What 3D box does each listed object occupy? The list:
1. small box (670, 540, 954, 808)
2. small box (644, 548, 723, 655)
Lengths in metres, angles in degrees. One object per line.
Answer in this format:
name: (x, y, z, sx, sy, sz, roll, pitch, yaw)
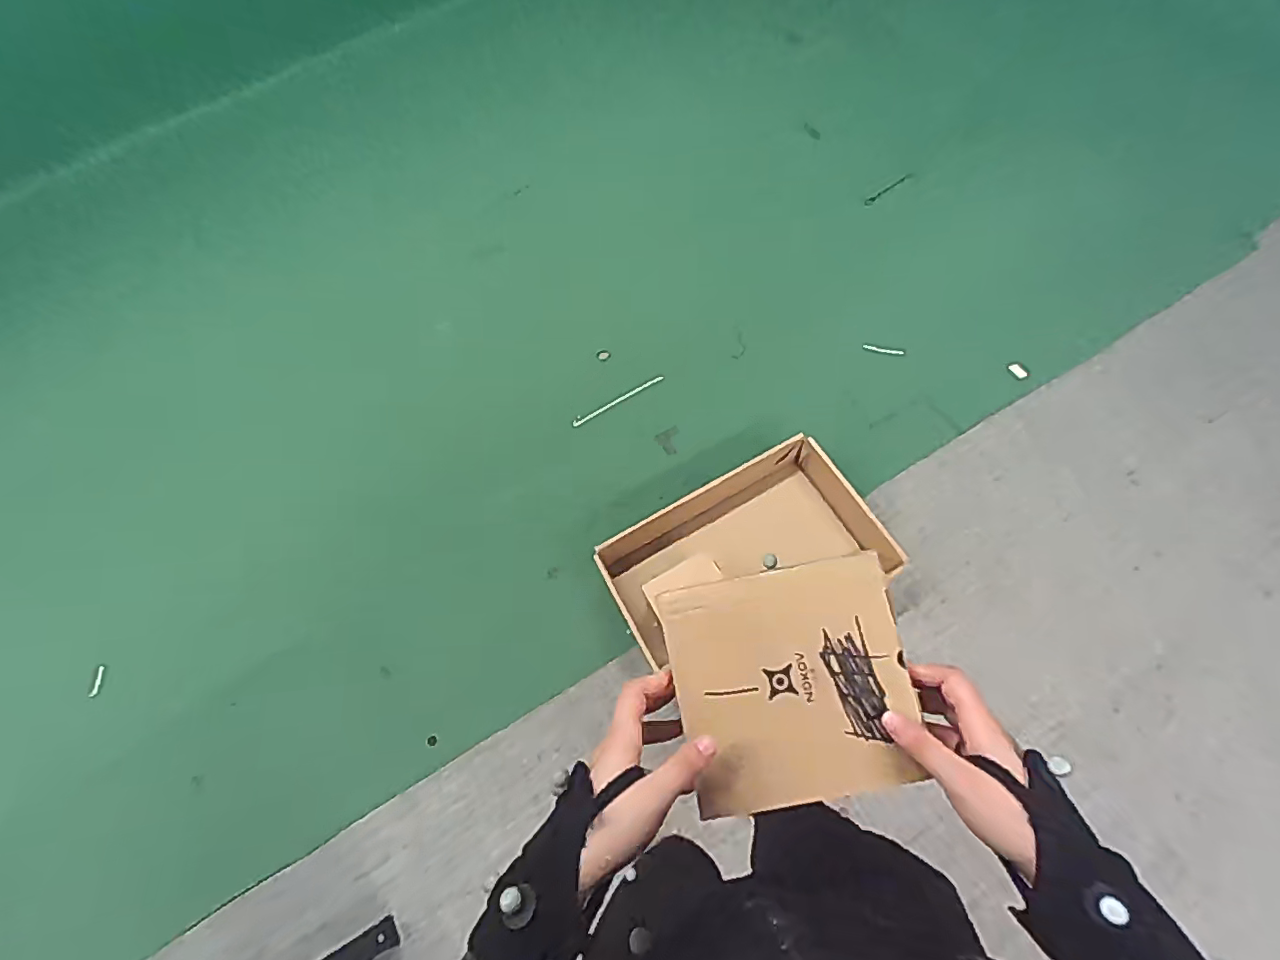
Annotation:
small box: (0.127, 0.154, 0.474, 0.179, 0.176, 0.168, -12, 77, 3)
small box: (0.127, 0.289, 1.249, 0.179, 0.176, 0.168, -28, 67, -8)
